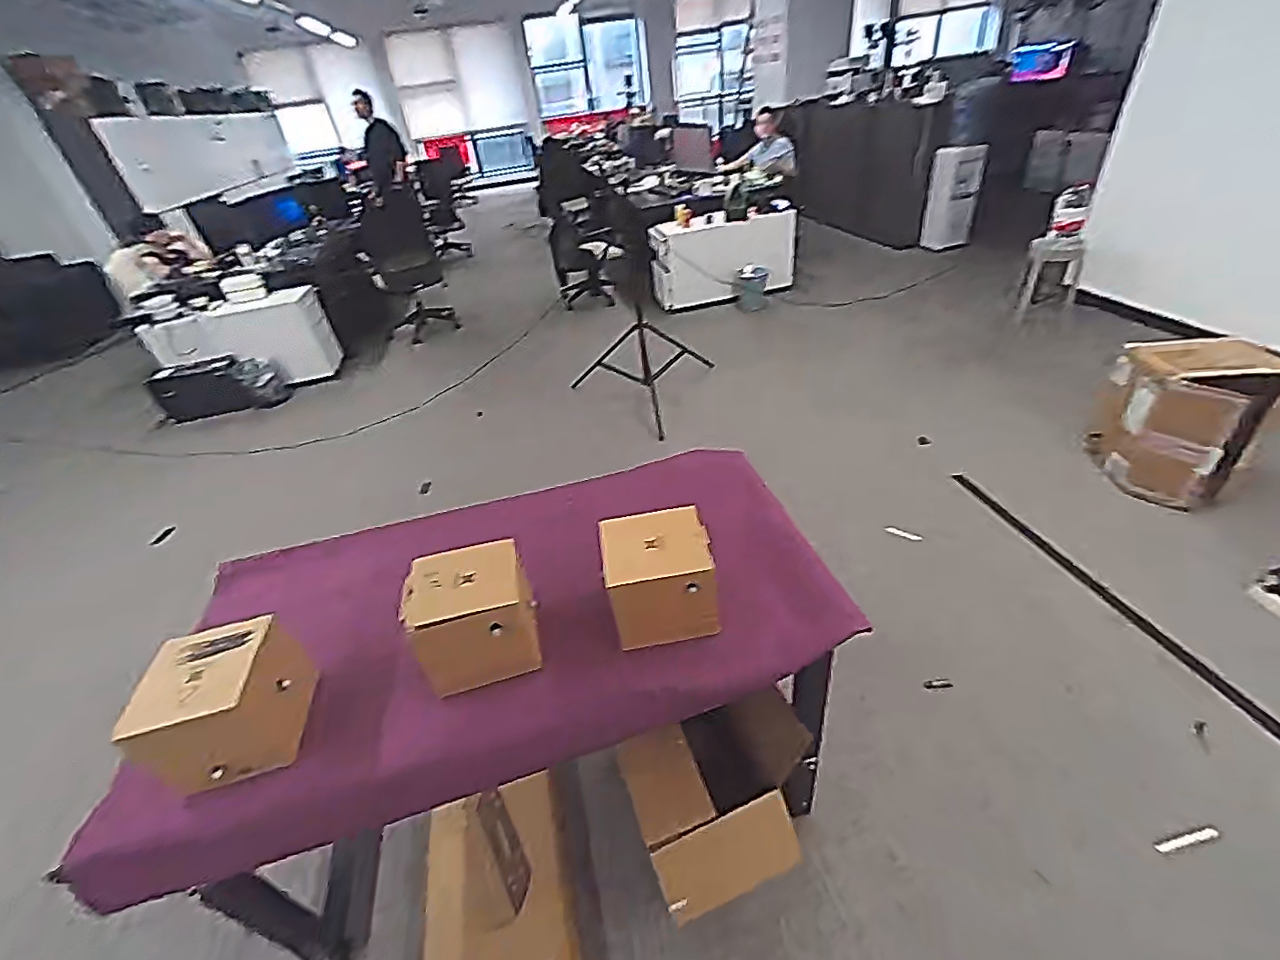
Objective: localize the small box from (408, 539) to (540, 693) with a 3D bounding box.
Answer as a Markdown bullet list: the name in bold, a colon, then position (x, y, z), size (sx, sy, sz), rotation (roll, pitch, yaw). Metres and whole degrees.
- **small box**: position (-0.277, 0.234, 0.935), size (0.179, 0.176, 0.168), rotation (-14, 34, -8)

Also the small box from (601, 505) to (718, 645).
- **small box**: position (0.035, 0.170, 0.960), size (0.179, 0.176, 0.168), rotation (-10, 36, -2)
